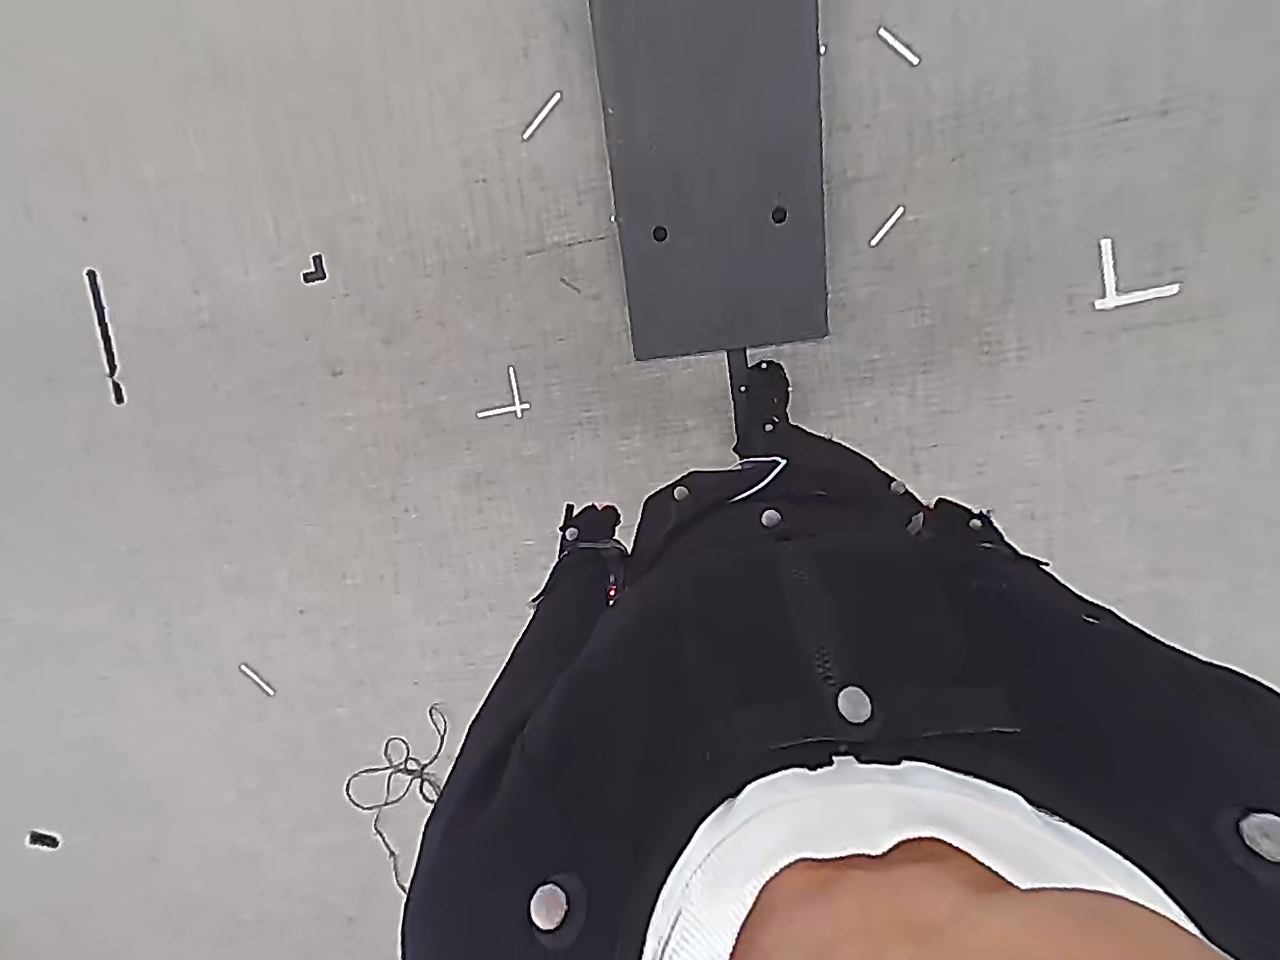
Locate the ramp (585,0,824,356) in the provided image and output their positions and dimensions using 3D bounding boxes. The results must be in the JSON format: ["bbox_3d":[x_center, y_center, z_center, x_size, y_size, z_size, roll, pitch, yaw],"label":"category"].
[{"bbox_3d":[0.156,-0.818,1.238,0.509,0.206,0.991,-7,97,8],"label":"ramp"}]
